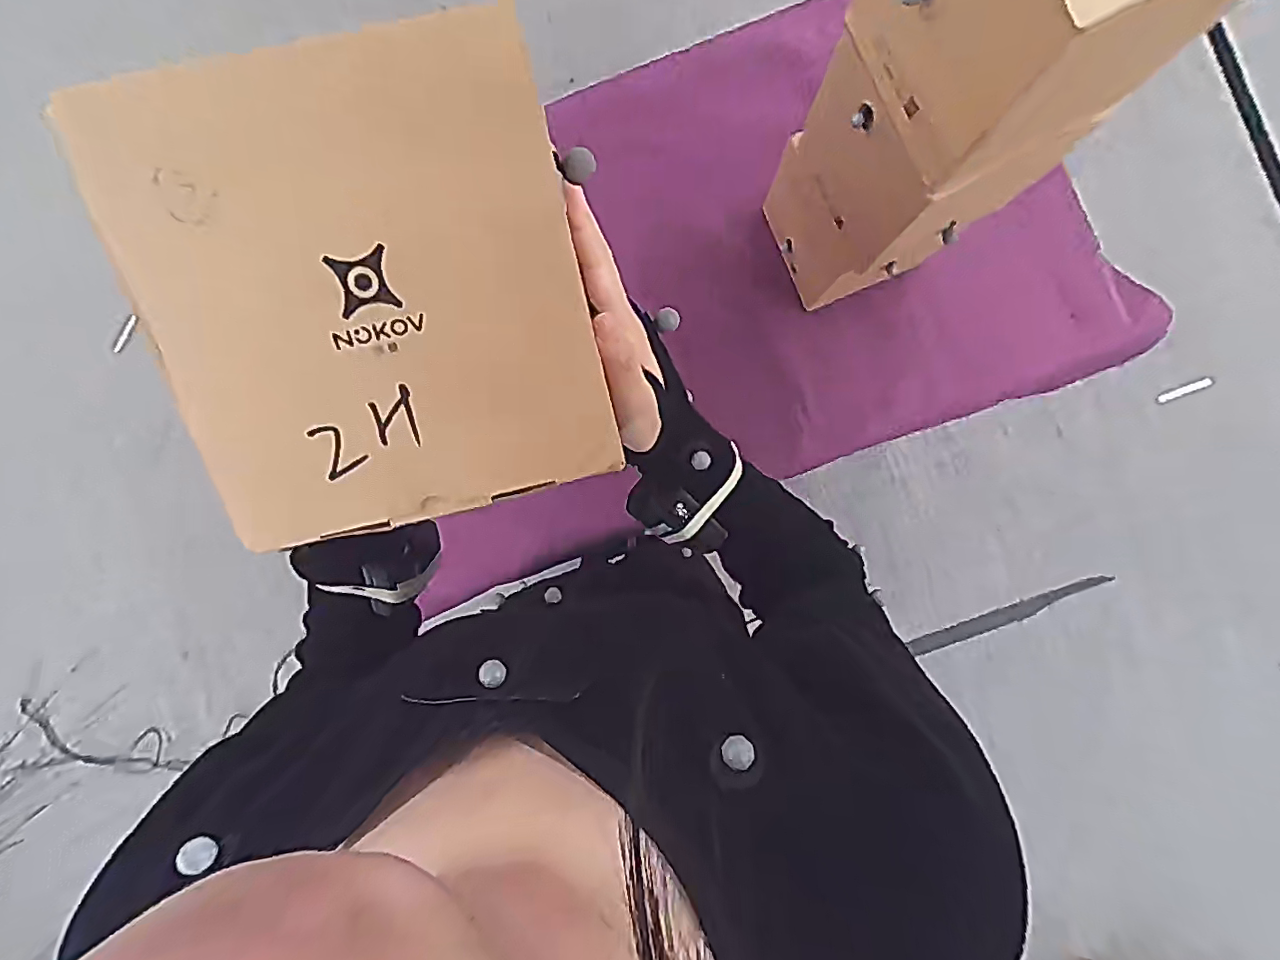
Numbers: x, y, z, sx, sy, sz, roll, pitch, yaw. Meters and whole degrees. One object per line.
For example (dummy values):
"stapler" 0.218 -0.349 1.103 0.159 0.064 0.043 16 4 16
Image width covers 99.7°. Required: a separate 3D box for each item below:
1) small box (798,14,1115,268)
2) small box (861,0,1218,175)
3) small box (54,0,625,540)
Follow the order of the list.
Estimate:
"small box" 0.284 -0.343 0.528 0.179 0.176 0.168 -26 89 1
"small box" 0.276 -0.351 0.365 0.179 0.176 0.168 -26 89 2
"small box" -0.108 -0.092 0.282 0.168 0.176 0.179 -12 105 -2
